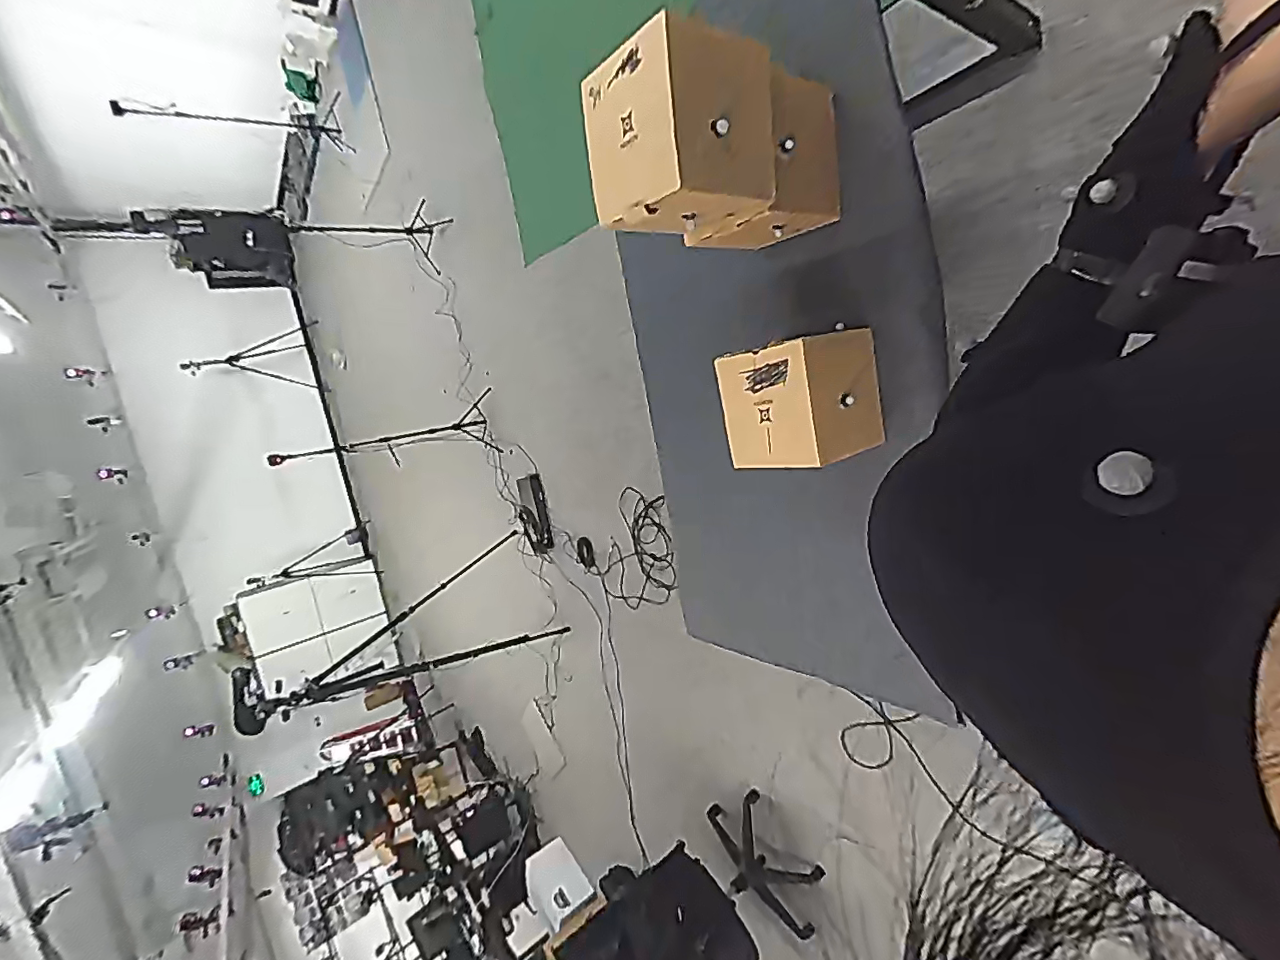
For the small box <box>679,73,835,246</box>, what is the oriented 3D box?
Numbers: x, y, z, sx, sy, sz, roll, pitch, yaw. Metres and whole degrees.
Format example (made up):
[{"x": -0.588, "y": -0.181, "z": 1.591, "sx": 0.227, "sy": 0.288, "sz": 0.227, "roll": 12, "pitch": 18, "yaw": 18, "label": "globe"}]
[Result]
[{"x": 0.164, "y": -0.451, "z": 0.781, "sx": 0.168, "sy": 0.176, "sz": 0.179, "roll": 5, "pitch": 107, "yaw": 52, "label": "small box"}]

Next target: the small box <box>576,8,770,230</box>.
[{"x": 0.045, "y": -0.423, "z": 0.670, "sx": 0.168, "sy": 0.176, "sz": 0.179, "roll": 9, "pitch": 112, "yaw": 51, "label": "small box"}]

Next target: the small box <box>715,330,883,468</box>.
[{"x": 0.241, "y": -0.122, "z": 0.814, "sx": 0.168, "sy": 0.176, "sz": 0.179, "roll": 1, "pitch": 107, "yaw": 54, "label": "small box"}]
